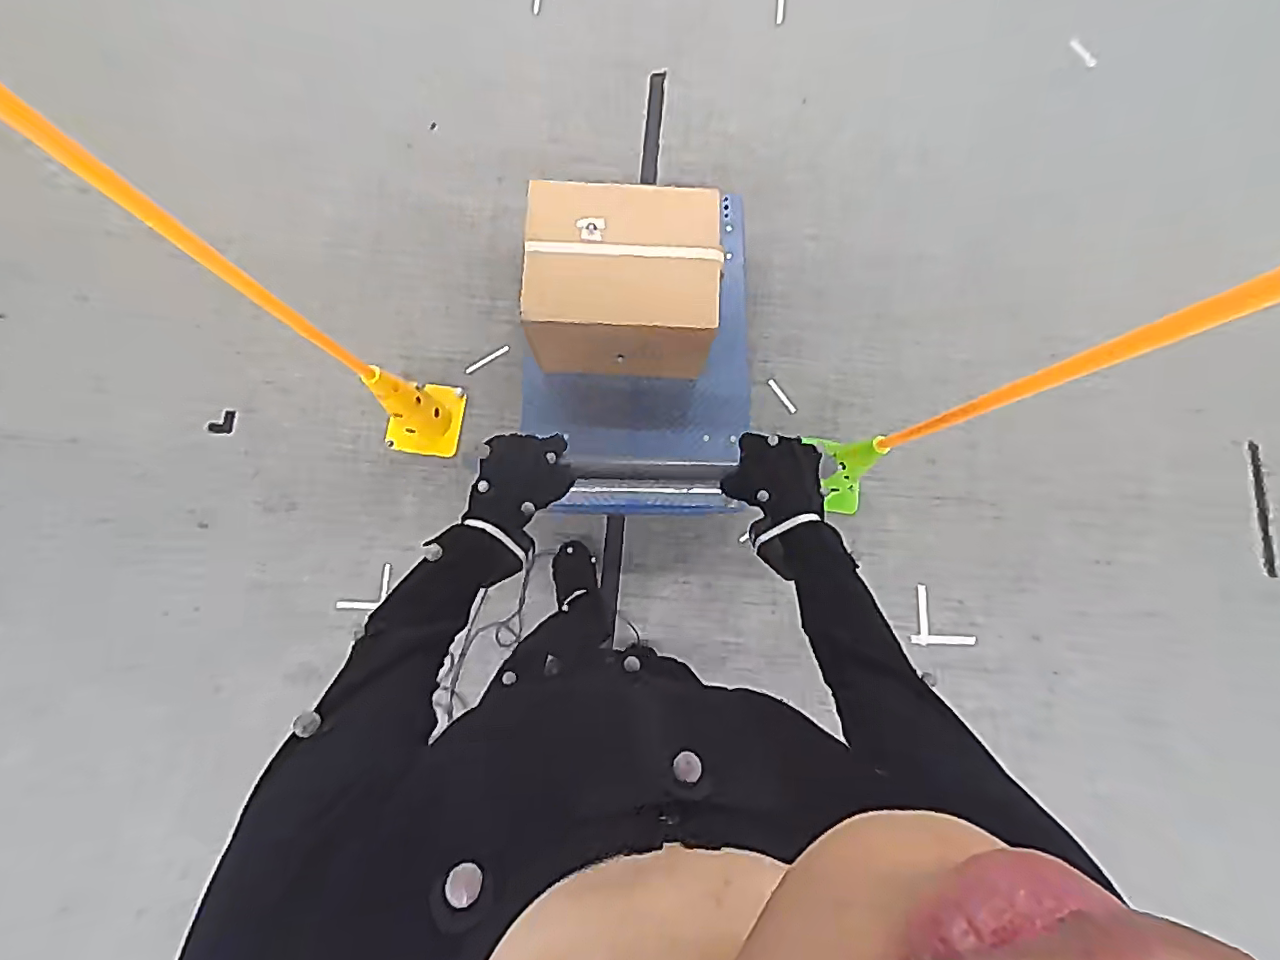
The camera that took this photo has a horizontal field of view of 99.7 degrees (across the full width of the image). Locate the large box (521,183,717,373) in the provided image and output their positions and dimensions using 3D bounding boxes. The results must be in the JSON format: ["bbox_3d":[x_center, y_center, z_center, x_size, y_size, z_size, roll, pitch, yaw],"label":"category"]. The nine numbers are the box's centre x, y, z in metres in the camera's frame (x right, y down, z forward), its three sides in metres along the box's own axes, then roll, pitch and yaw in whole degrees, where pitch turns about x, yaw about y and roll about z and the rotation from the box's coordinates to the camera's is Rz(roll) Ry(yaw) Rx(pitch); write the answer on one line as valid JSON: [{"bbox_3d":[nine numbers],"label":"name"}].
[{"bbox_3d":[-0.039,-0.446,1.258,0.408,0.320,0.320,2,82,-1],"label":"large box"}]

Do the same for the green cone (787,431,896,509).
[{"bbox_3d":[0.526,-0.056,1.352,0.202,0.368,0.200,9,80,-1],"label":"green cone"}]
